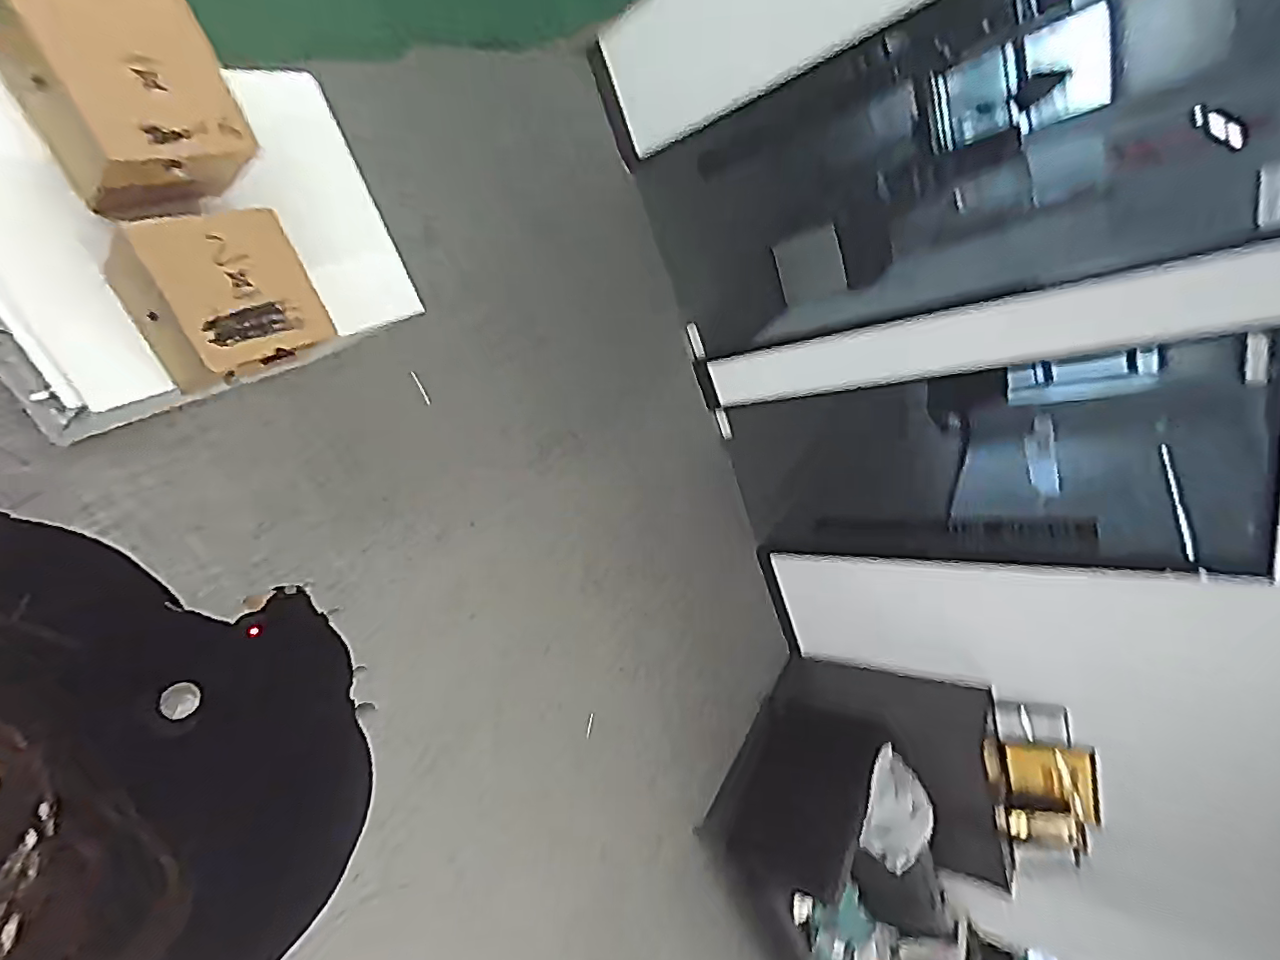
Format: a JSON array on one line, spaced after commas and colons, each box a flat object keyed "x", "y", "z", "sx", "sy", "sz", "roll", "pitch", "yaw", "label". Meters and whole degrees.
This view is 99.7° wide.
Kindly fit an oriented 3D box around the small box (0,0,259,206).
[{"x": -0.620, "y": -0.461, "z": 0.655, "sx": 0.168, "sy": 0.176, "sz": 0.179, "roll": -42, "pitch": 120, "yaw": -44, "label": "small box"}]
